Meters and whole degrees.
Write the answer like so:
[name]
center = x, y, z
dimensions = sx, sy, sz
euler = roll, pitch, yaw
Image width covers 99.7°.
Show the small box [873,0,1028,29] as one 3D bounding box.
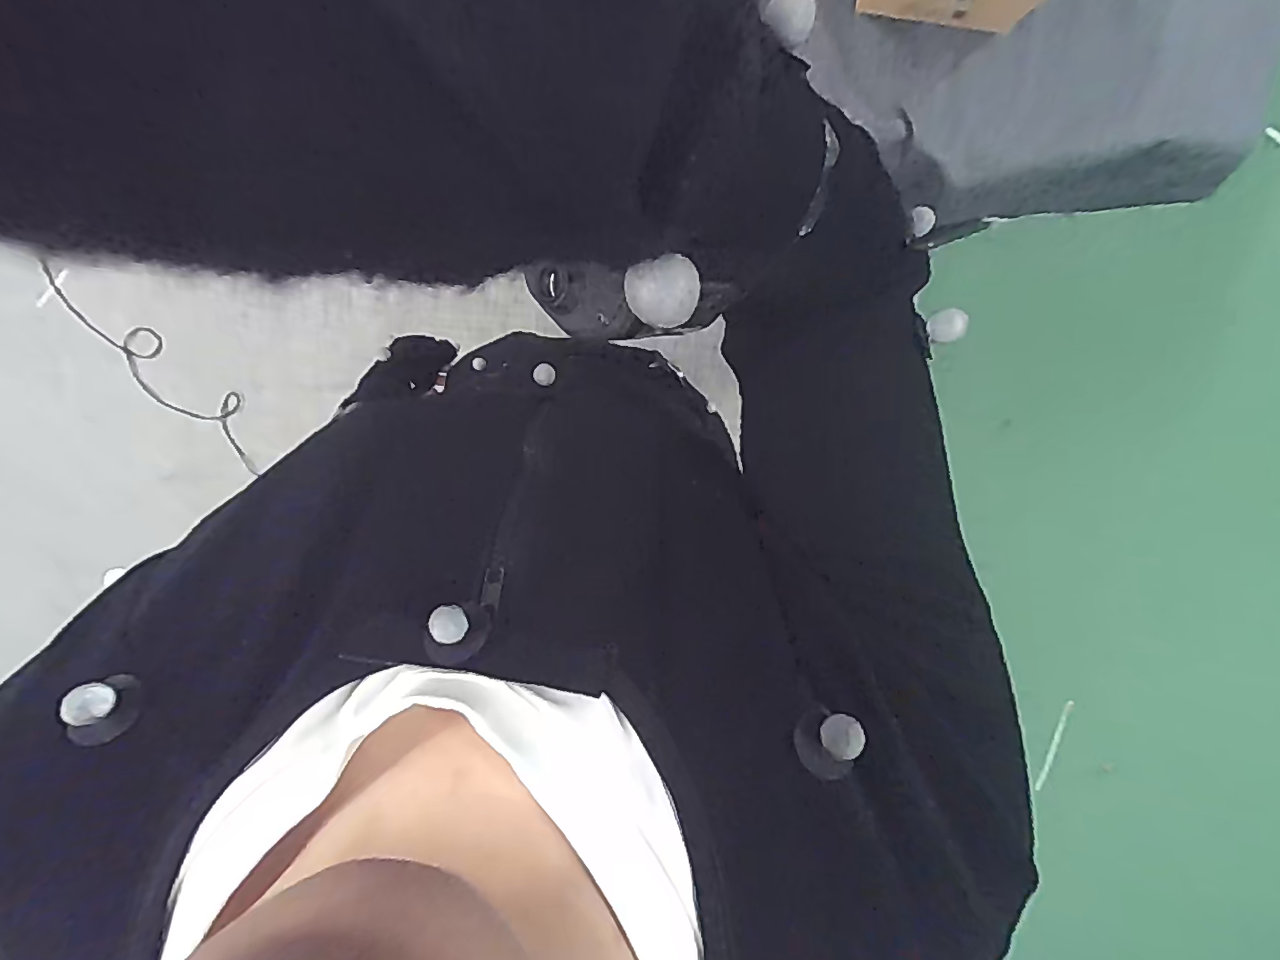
[small box]
center = 0.323, -0.561, 0.493
dimensions = 0.168, 0.176, 0.179
euler = 9, 104, 0
